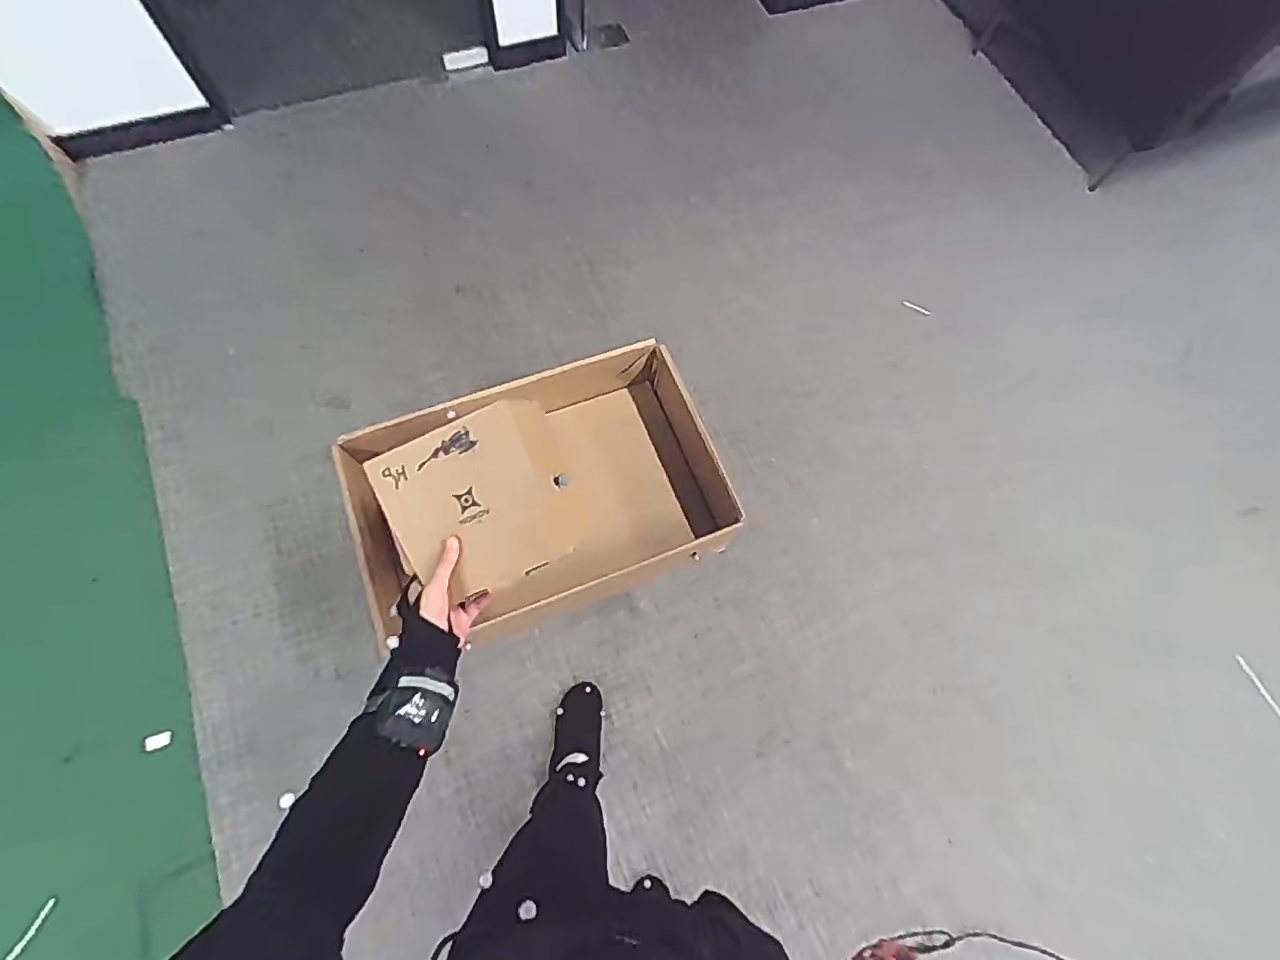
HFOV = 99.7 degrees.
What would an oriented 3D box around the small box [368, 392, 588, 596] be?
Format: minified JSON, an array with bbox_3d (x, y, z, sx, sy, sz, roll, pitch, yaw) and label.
[{"bbox_3d":[-0.171,0.005,0.637,0.168,0.176,0.179,-23,97,3],"label":"small box"}]
